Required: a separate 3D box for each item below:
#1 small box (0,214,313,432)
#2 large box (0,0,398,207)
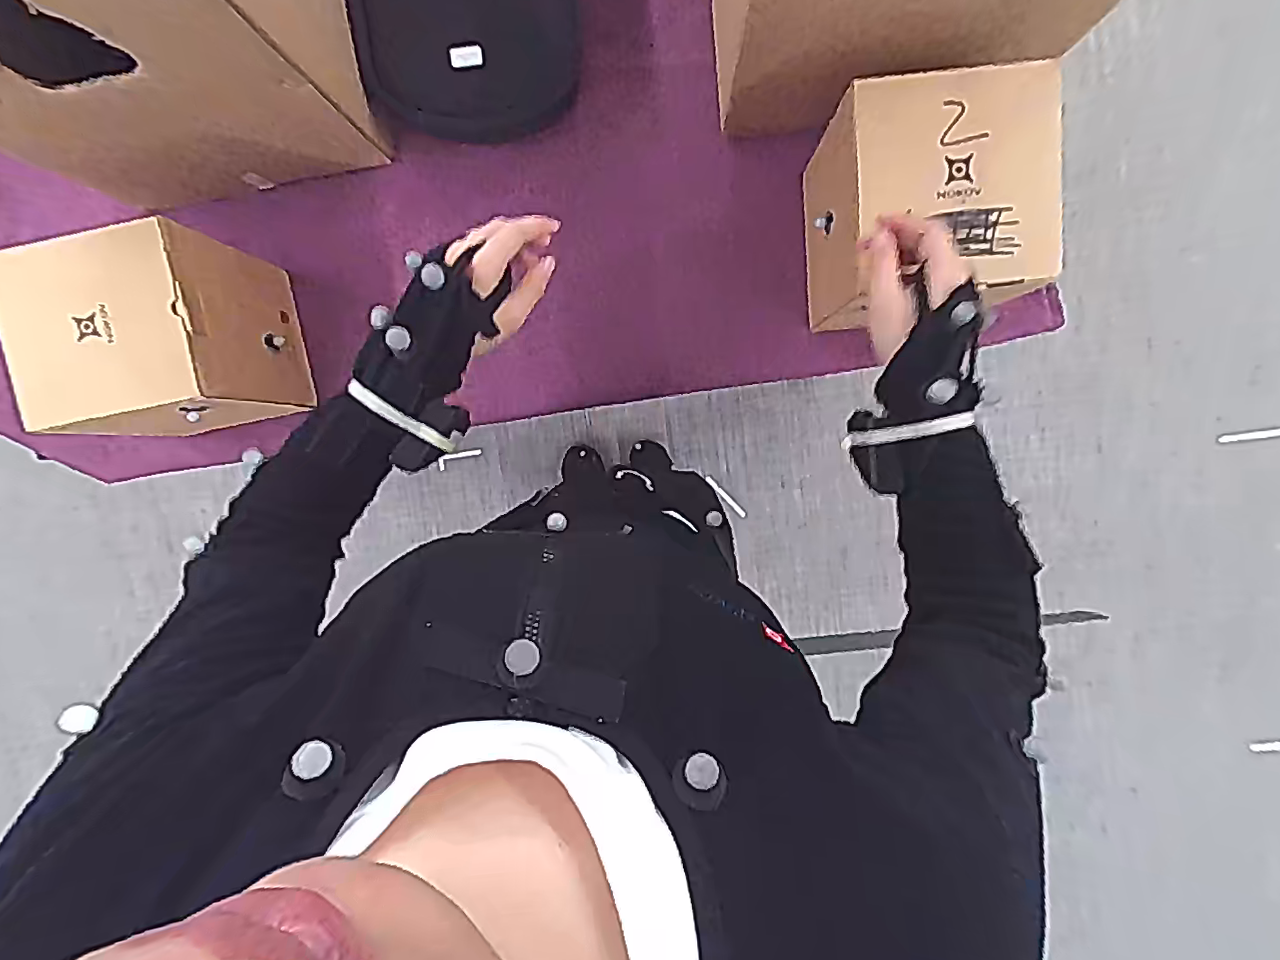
[{"bbox_3d":[-0.492,-0.147,0.569,0.179,0.176,0.168,-12,94,2],"label":"small box"},{"bbox_3d":[-0.464,-0.521,0.466,0.320,0.320,0.408,-10,97,4],"label":"large box"}]
